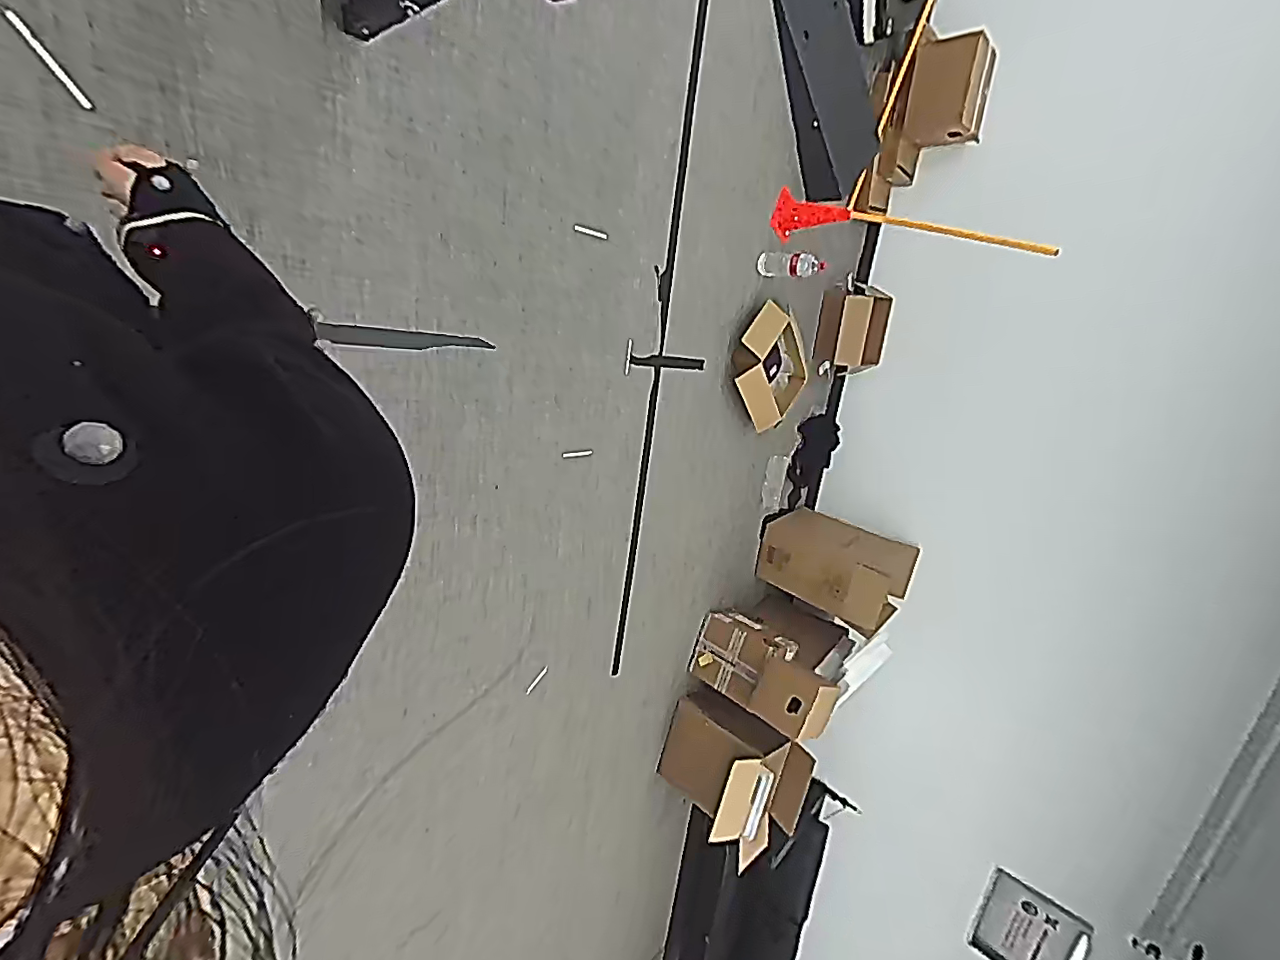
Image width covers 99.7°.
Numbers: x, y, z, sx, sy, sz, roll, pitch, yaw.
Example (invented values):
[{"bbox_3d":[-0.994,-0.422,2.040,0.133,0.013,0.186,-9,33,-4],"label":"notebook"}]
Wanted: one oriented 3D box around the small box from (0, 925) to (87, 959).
[{"bbox_3d":[-1.334,1.146,1.185,0.168,0.176,0.179,-19,121,-46],"label":"small box"}]
